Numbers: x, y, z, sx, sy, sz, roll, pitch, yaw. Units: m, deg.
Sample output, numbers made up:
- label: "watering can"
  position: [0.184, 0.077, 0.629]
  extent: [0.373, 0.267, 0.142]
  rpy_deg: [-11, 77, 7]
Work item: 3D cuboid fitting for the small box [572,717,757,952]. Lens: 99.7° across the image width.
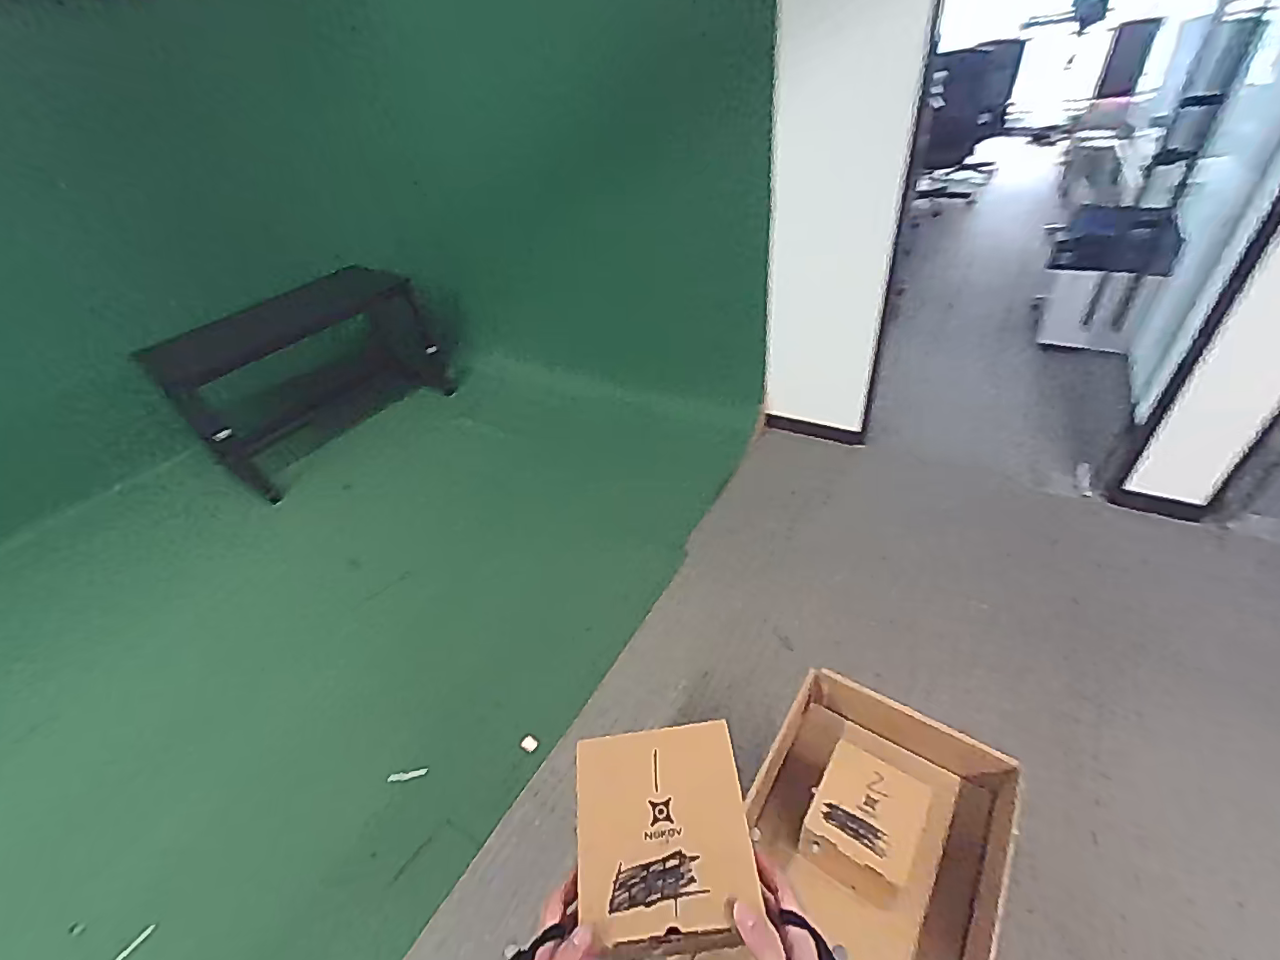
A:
- label: "small box"
  position: [0.024, 0.382, 0.579]
  extent: [0.168, 0.176, 0.179]
  rpy_deg: [-8, 44, 0]
